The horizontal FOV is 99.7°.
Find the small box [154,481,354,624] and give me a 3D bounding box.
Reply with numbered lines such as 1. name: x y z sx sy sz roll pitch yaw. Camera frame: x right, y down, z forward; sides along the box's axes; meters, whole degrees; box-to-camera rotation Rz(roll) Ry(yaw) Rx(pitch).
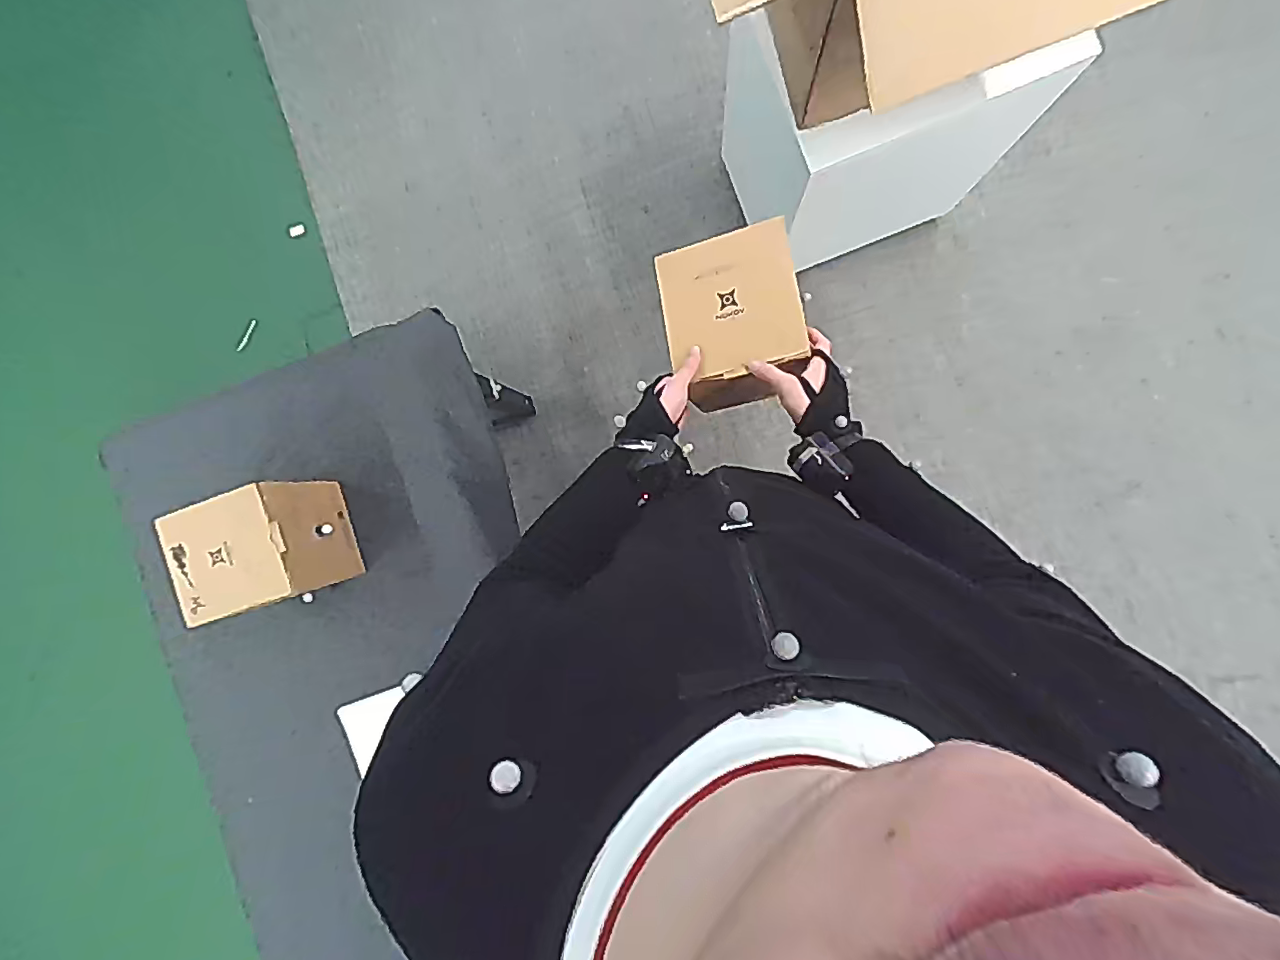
1. small box: -0.578 0.101 0.839 0.179 0.176 0.168 -18 89 5

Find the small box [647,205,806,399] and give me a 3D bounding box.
1. small box: 0.122 -0.215 0.717 0.168 0.176 0.179 -12 80 16
